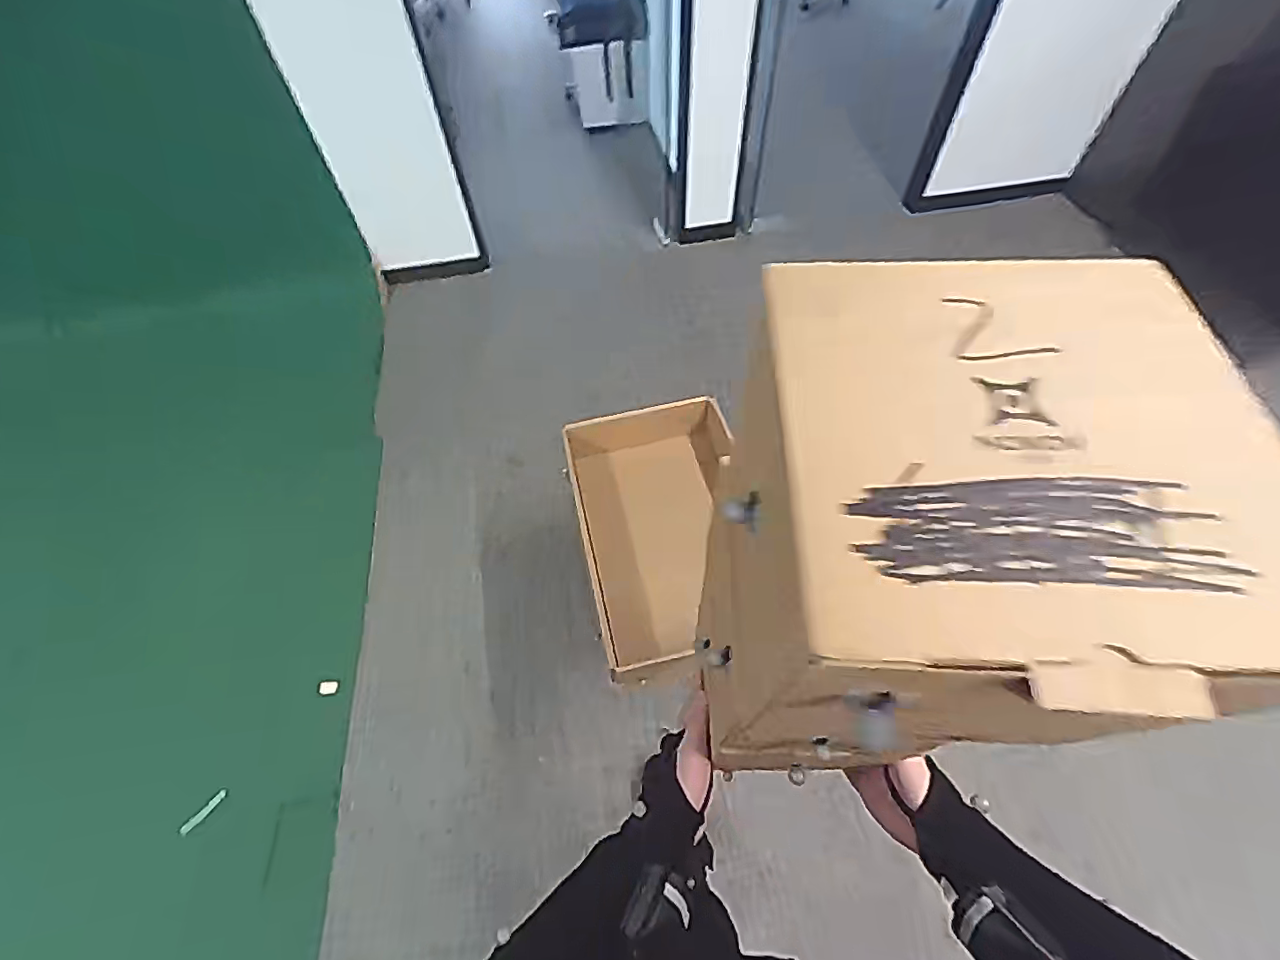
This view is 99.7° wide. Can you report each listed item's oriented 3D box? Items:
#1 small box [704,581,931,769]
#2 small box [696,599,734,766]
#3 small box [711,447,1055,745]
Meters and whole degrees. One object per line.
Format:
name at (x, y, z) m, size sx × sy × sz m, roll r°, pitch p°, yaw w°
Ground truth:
small box at (0.153, 0.181, 0.541) m, size 0.168 × 0.176 × 0.179 m, roll -1°, pitch 58°, yaw 3°
small box at (0.160, 0.261, 0.685) m, size 0.168 × 0.176 × 0.179 m, roll -1°, pitch 57°, yaw 2°
small box at (0.146, 0.093, 0.405) m, size 0.168 × 0.176 × 0.179 m, roll -1°, pitch 59°, yaw 2°
